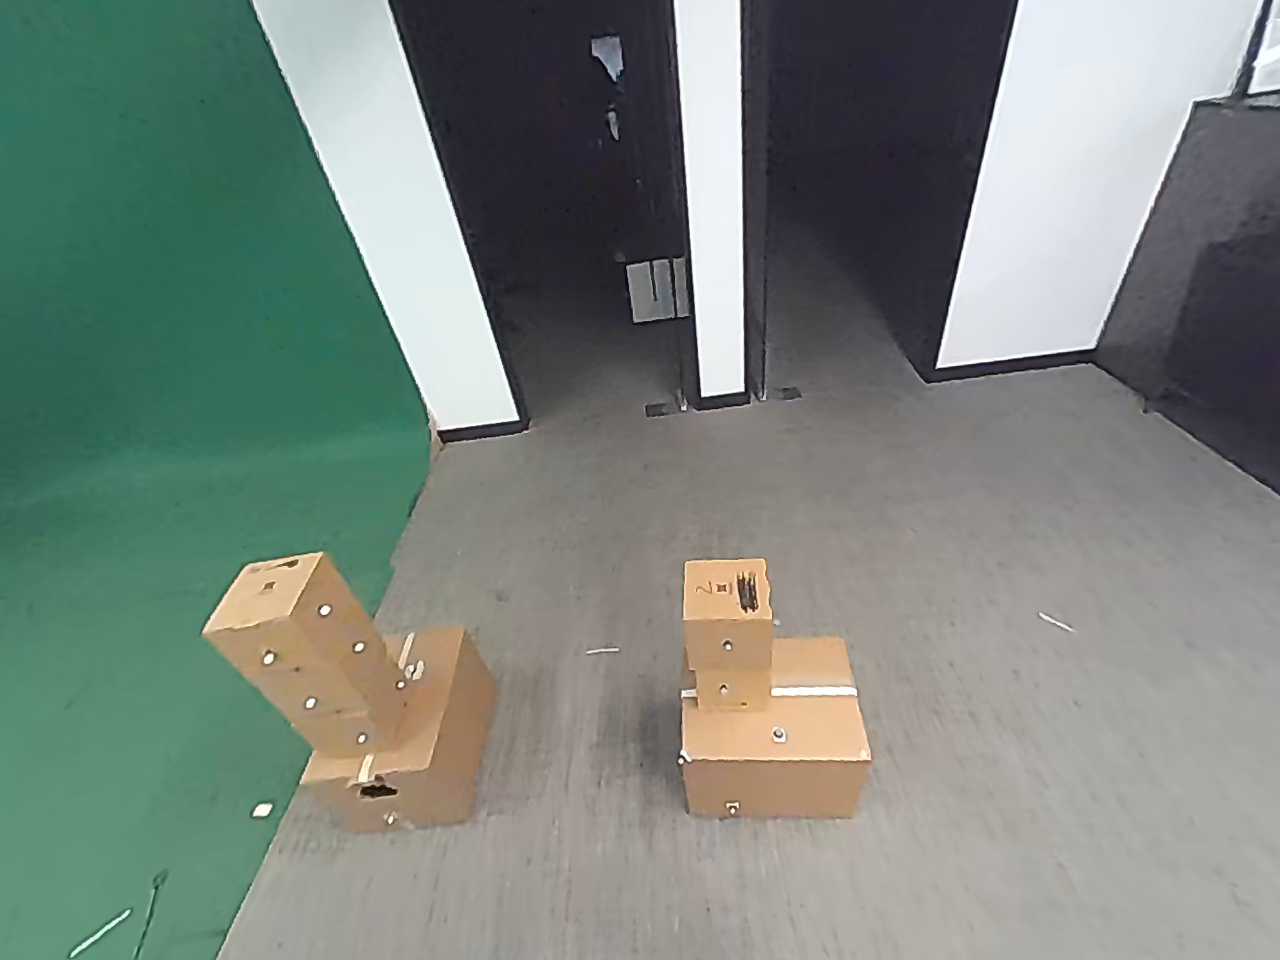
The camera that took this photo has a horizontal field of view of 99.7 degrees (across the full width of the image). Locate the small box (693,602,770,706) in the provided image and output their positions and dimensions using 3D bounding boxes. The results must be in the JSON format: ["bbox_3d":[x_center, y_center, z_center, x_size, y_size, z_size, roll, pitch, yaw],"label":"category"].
[{"bbox_3d":[0.214,0.410,1.267,0.168,0.176,0.179,-3,36,8],"label":"small box"}]

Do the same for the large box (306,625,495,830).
[{"bbox_3d":[-0.624,0.676,1.499,0.320,0.320,0.408,-7,37,3],"label":"large box"}]

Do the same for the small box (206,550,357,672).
[{"bbox_3d":[-0.710,0.272,1.099,0.168,0.176,0.179,-9,38,0],"label":"small box"}]

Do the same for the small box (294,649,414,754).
[{"bbox_3d":[-0.670,0.532,1.296,0.179,0.176,0.168,-9,37,2],"label":"small box"}]

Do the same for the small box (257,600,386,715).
[{"bbox_3d":[-0.691,0.400,1.201,0.168,0.176,0.179,-10,37,-2],"label":"small box"}]
